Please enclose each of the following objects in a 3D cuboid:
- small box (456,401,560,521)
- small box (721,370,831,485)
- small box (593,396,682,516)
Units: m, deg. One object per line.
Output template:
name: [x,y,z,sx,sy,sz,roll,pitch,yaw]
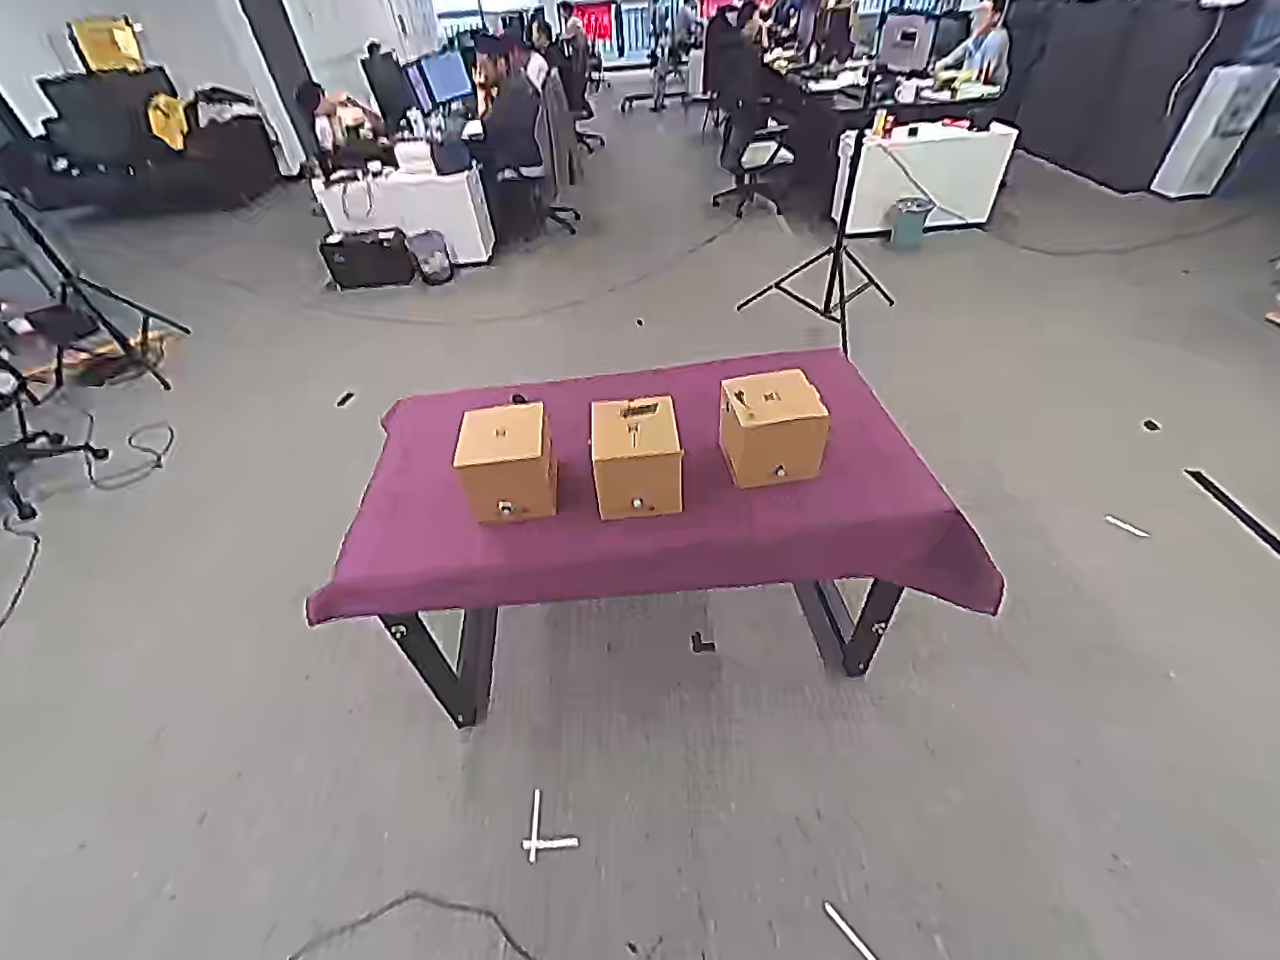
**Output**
small box: [-0.263,-0.039,1.116,0.168,0.176,0.179,-8,44,-1]
small box: [0.275,-0.110,1.138,0.179,0.176,0.168,-8,43,-3]
small box: [-0.005,-0.049,1.099,0.168,0.176,0.179,-5,44,0]
